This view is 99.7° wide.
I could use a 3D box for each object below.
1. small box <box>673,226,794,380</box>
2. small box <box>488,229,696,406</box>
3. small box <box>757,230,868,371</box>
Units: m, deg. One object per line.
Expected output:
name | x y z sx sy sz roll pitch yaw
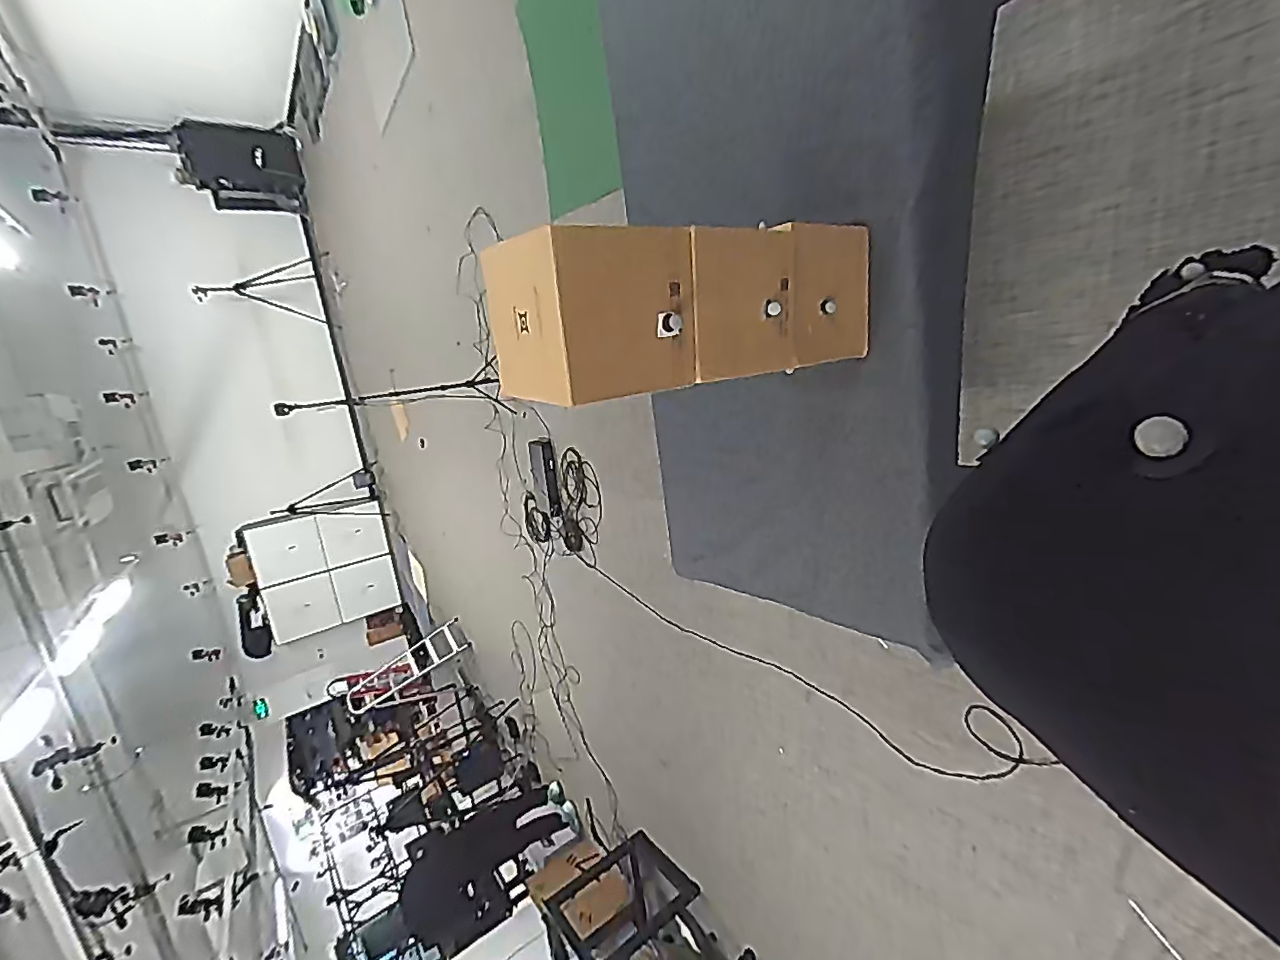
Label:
small box | 0.079 -0.223 0.708 0.179 0.176 0.168 15 115 55
small box | -0.054 -0.185 0.623 0.179 0.176 0.168 17 118 52
small box | 0.215 -0.259 0.793 0.168 0.176 0.179 14 115 54
